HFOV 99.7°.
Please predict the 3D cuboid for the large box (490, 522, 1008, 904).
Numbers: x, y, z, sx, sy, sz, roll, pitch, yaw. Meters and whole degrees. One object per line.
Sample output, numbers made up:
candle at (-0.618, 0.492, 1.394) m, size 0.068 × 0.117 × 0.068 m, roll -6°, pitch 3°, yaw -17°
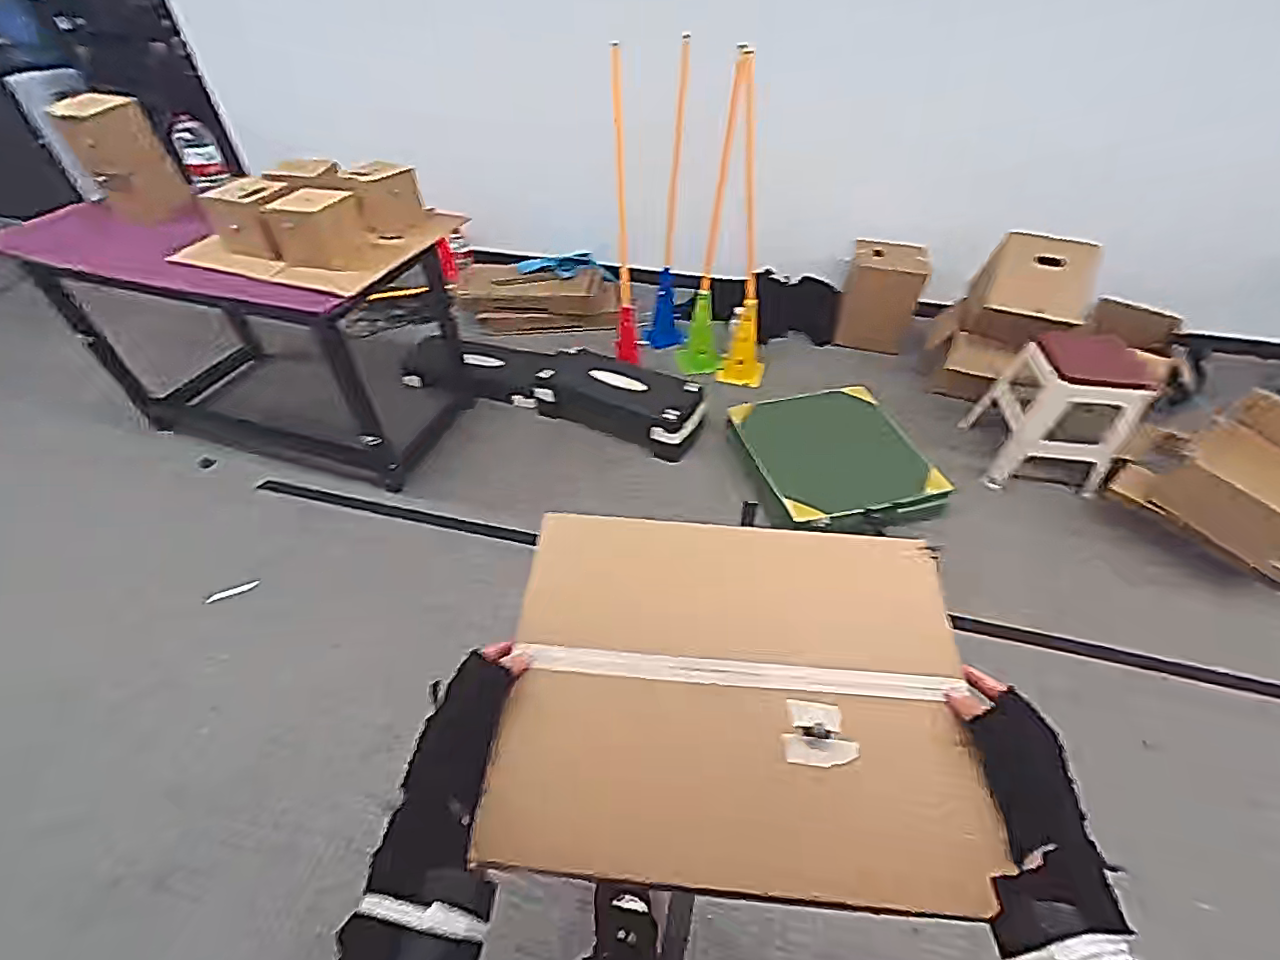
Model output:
large box at (0.088, 0.270, 0.617) m, size 0.408 × 0.320 × 0.320 m, roll 5°, pitch 53°, yaw 3°
